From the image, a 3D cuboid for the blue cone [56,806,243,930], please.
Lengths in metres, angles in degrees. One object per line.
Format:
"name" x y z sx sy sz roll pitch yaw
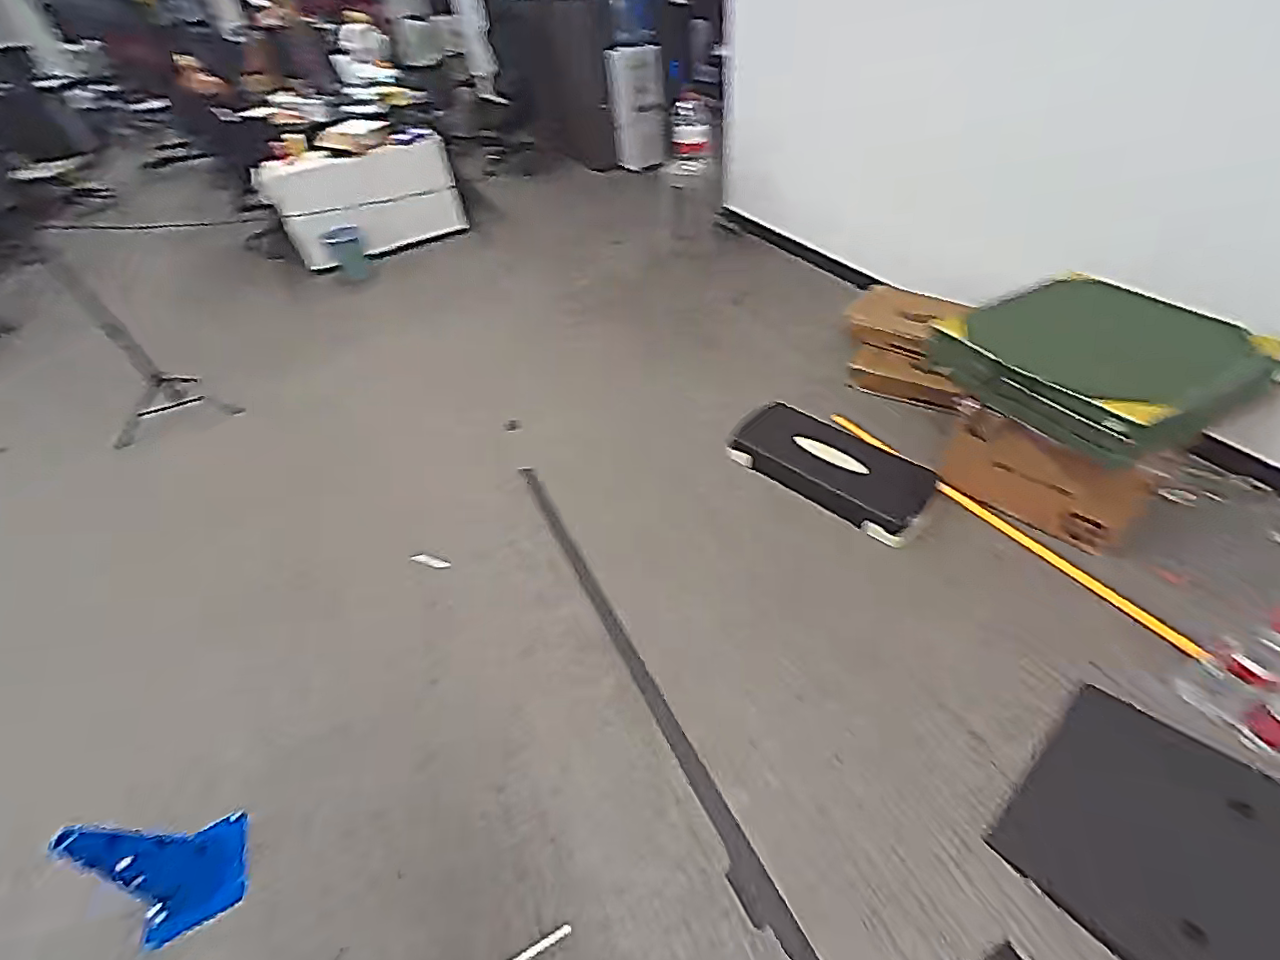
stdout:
"blue cone" -1.011 0.750 1.099 0.193 0.380 0.192 -23 45 -14
